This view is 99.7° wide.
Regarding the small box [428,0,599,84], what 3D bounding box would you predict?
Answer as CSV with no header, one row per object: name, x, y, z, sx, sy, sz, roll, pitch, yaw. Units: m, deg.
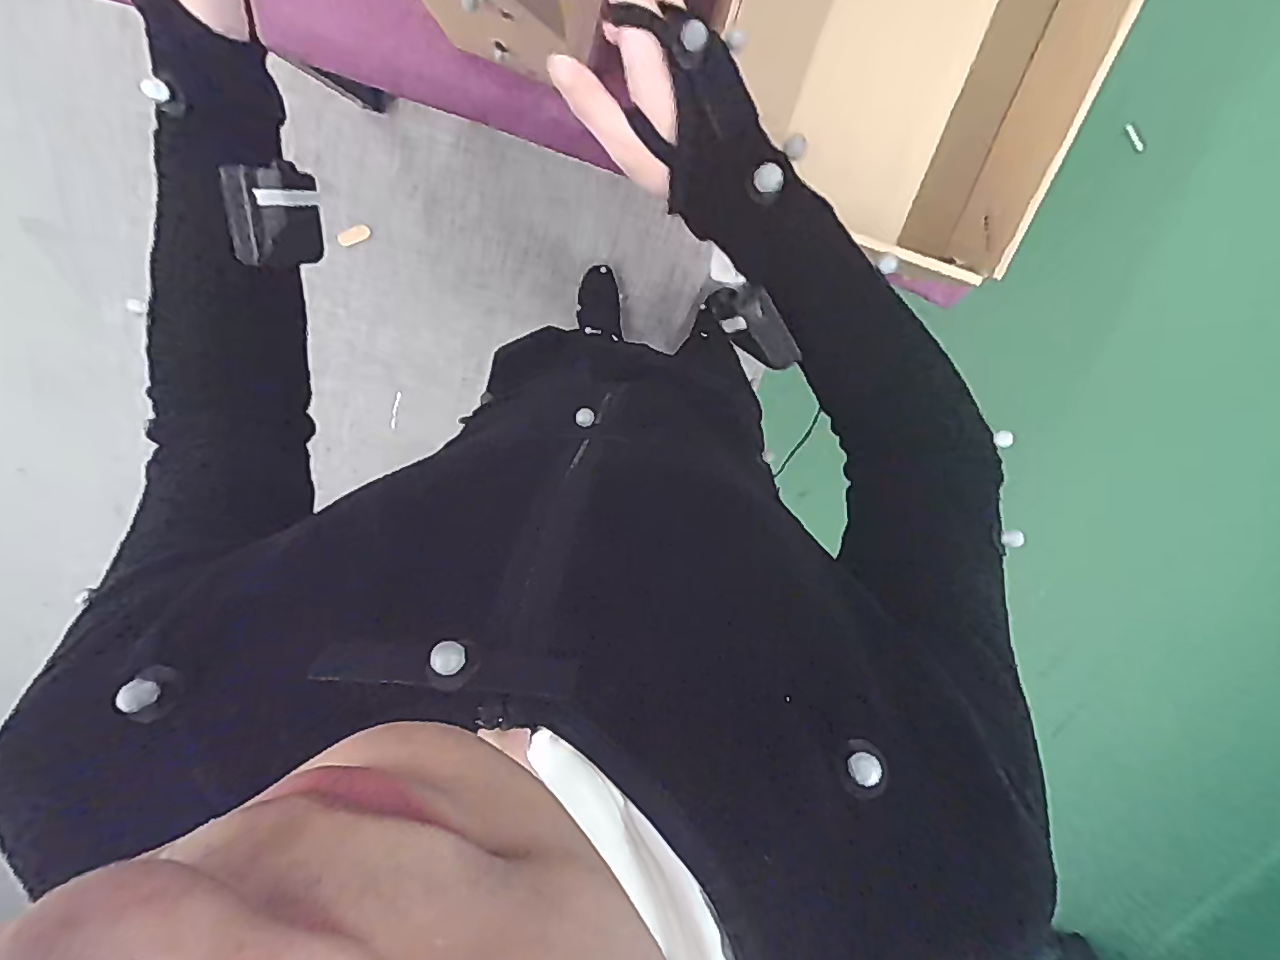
small box,-0.128,-0.577,0.592,0.168,0.176,0.179,16,110,-9

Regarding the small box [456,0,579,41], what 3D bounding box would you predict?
small box,-0.120,-0.516,0.440,0.168,0.176,0.179,17,110,-8

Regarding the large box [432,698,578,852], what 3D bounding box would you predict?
large box,-0.463,1.051,1.948,0.408,0.320,0.320,-15,113,3
